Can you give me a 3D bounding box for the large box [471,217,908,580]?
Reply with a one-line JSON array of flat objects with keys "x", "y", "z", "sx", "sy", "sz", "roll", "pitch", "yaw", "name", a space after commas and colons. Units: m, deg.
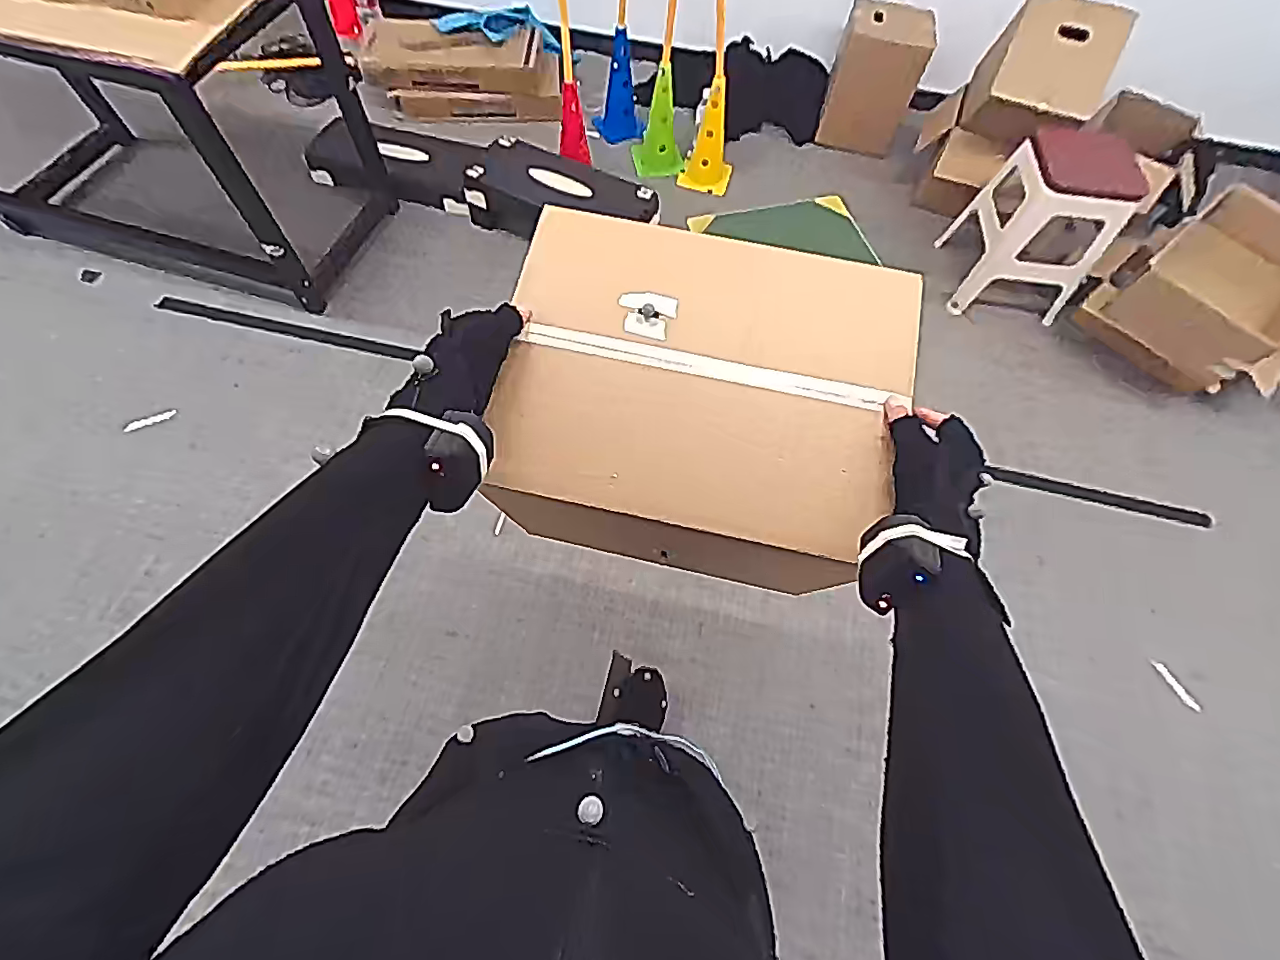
[{"x": 0.064, "y": -0.072, "z": 0.689, "sx": 0.408, "sy": 0.320, "sz": 0.320, "roll": 12, "pitch": 74, "yaw": 5, "name": "large box"}]
